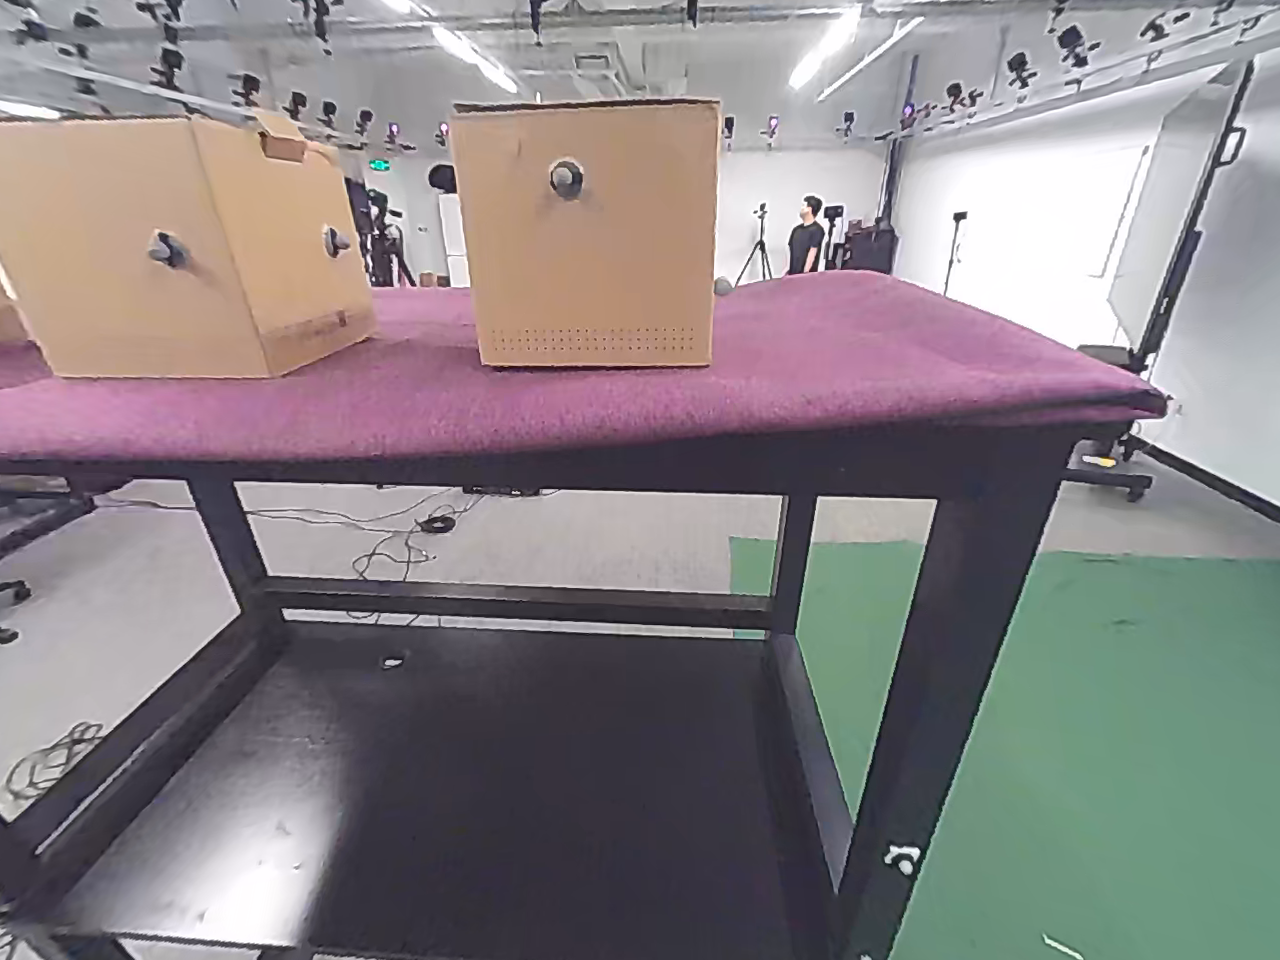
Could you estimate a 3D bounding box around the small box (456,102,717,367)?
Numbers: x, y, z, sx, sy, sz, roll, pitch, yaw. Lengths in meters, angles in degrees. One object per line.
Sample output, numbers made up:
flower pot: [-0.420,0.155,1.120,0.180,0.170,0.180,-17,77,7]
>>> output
small box: [-0.027,-0.192,0.451,0.179,0.176,0.168,2,24,5]

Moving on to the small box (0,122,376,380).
small box: [-0.351,-0.184,0.448,0.179,0.176,0.168,0,25,3]
